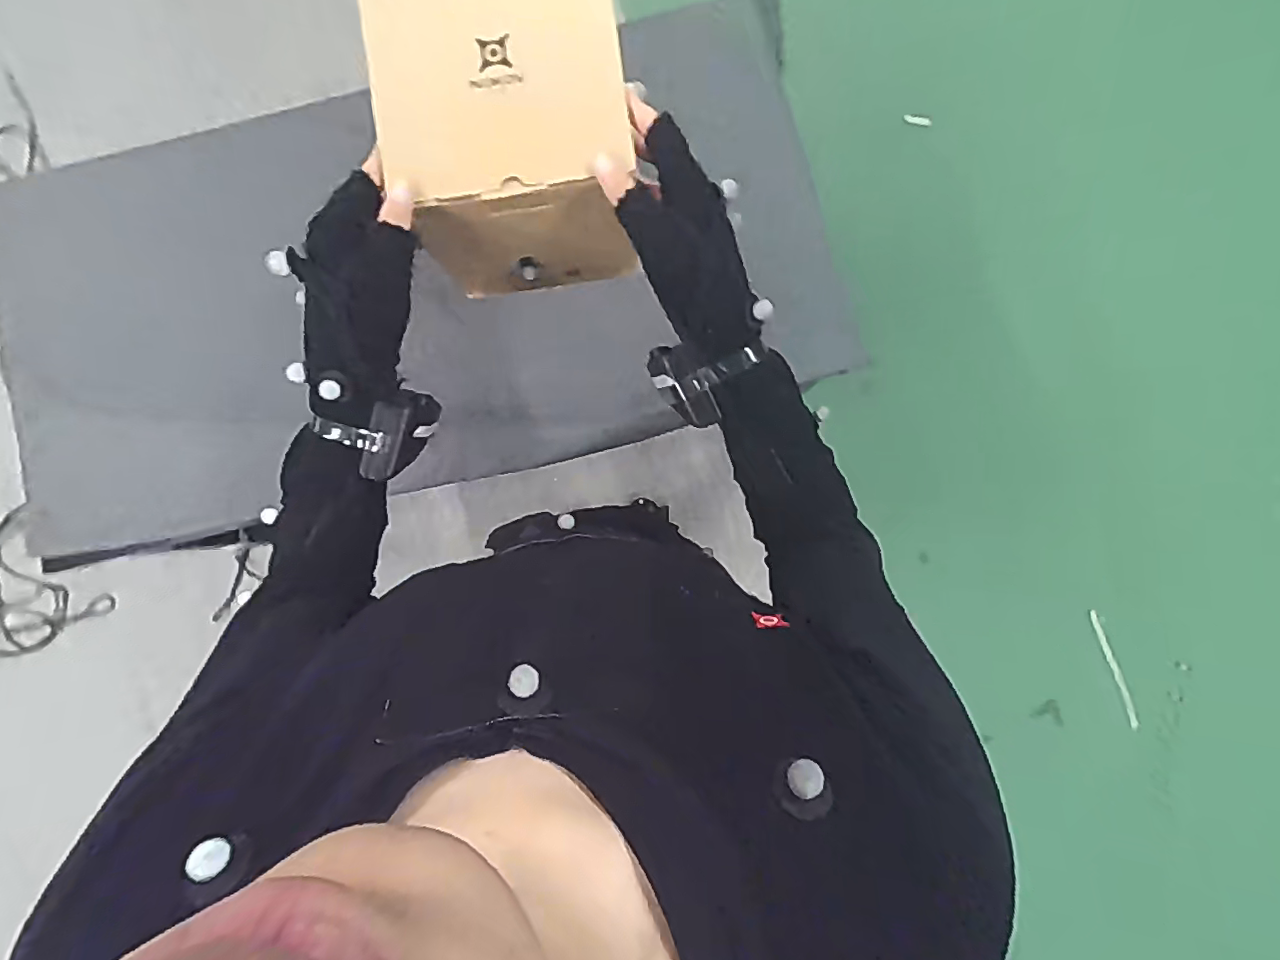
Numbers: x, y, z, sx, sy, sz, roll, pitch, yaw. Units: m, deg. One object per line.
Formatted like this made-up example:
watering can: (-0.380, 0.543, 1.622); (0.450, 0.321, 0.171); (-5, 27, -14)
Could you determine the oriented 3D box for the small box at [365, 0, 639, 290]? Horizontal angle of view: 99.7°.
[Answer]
small box: (-0.094, -0.275, 0.434); (0.168, 0.176, 0.179); (-8, 91, 0)
